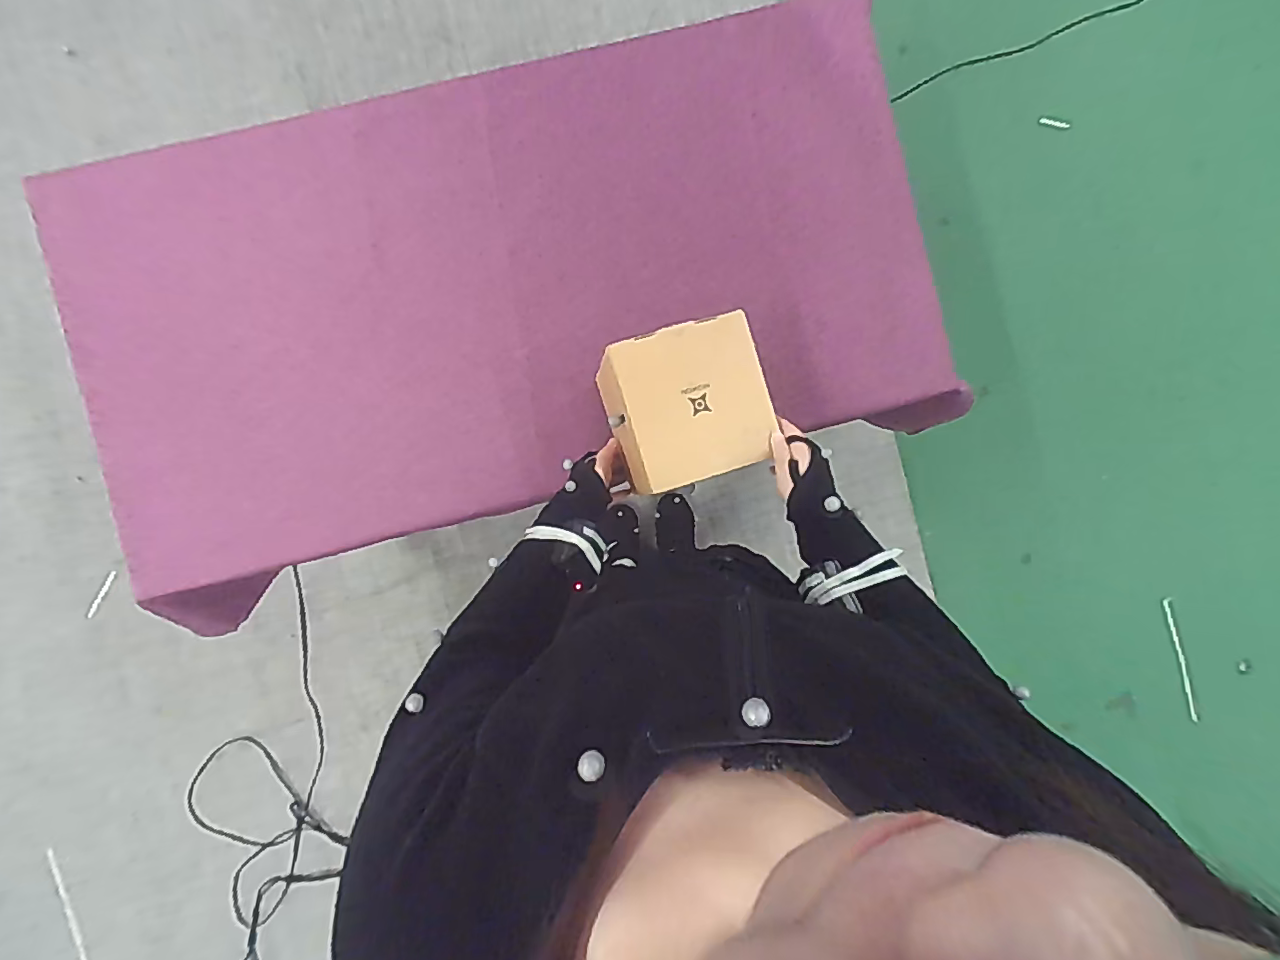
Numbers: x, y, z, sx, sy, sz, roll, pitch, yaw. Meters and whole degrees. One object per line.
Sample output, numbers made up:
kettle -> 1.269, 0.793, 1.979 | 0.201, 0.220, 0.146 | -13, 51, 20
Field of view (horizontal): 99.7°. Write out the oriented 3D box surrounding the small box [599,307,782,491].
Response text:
small box -> 0.052, -0.091, 0.686 | 0.168, 0.176, 0.179 | -17, 90, -9
